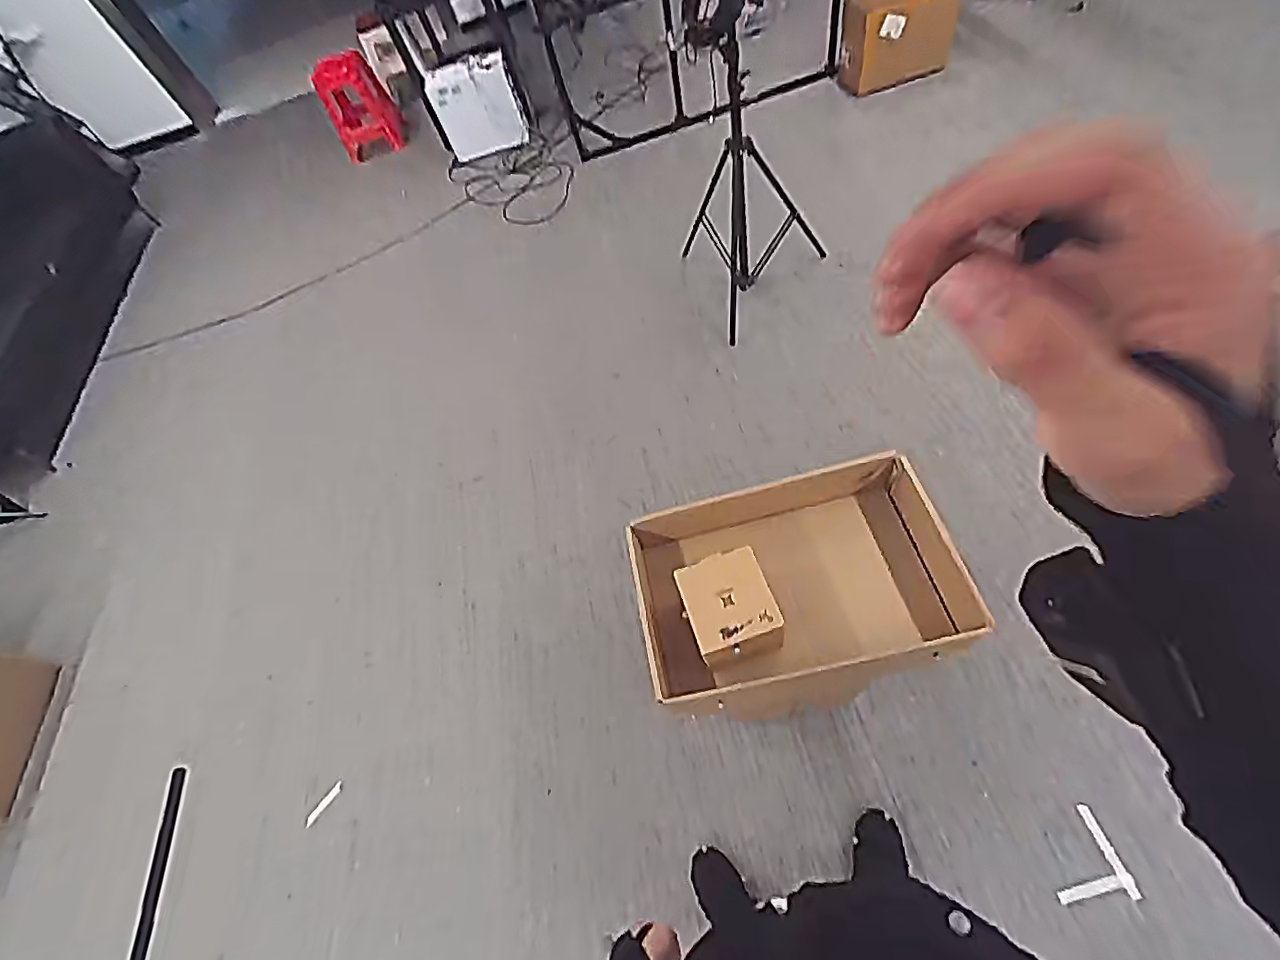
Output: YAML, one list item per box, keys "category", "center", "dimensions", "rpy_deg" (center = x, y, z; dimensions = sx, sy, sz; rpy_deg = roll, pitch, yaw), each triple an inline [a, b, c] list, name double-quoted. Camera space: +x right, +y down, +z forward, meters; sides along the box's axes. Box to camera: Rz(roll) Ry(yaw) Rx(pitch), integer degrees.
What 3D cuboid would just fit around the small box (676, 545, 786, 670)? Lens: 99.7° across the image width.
- category: "small box"
  center: [0.185, 0.263, 1.102]
  dimensions: [0.168, 0.176, 0.179]
  rpy_deg: [-21, 57, 2]
